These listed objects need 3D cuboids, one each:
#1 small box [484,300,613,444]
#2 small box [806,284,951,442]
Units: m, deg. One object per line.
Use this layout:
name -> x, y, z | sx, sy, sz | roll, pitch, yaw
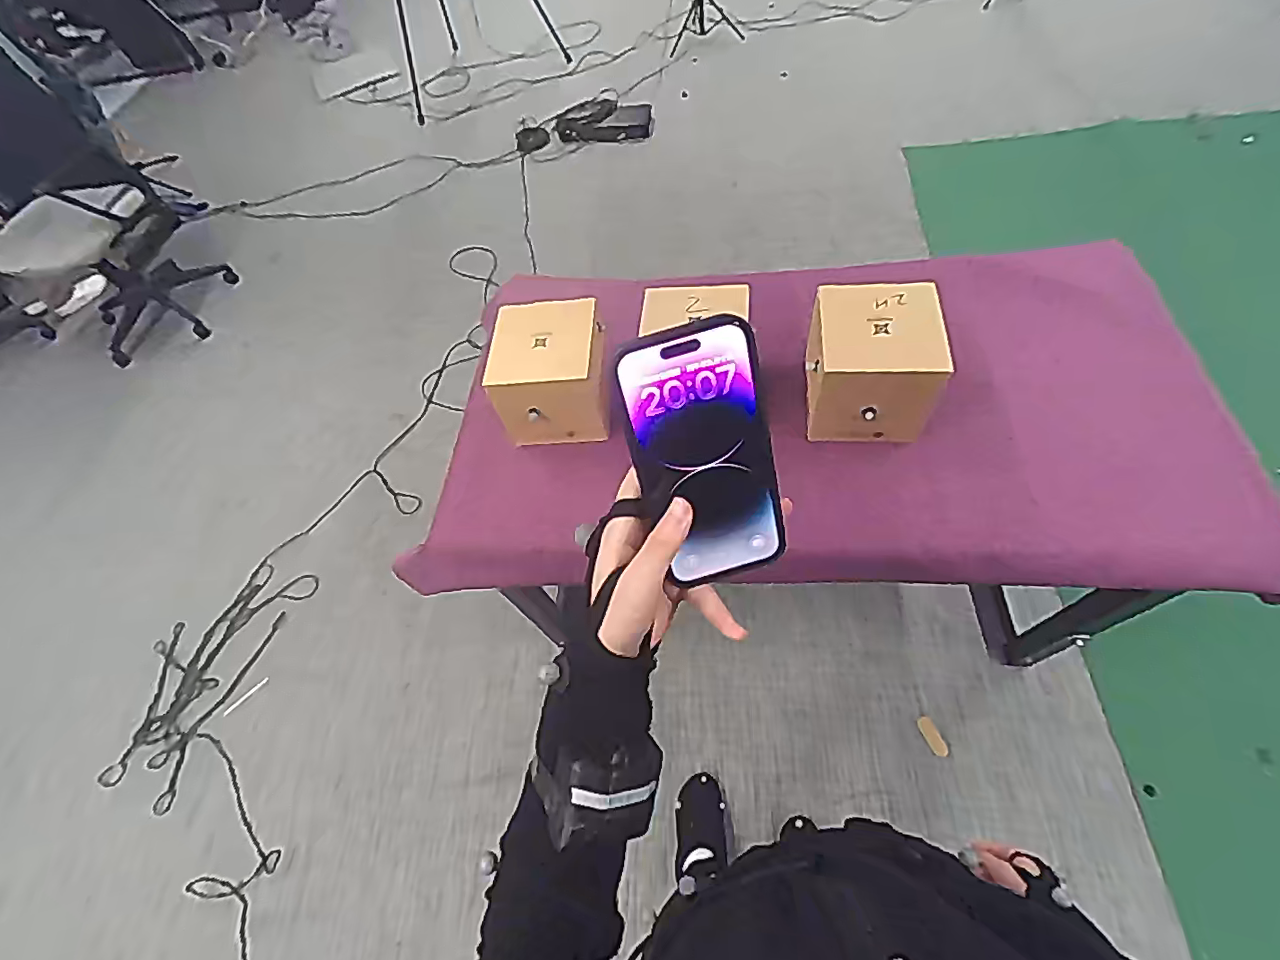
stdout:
small box -> -0.142, -0.172, 0.914 | 0.168, 0.176, 0.179 | -3, 58, 8
small box -> 0.351, -0.174, 0.830 | 0.168, 0.176, 0.179 | 2, 59, 10
